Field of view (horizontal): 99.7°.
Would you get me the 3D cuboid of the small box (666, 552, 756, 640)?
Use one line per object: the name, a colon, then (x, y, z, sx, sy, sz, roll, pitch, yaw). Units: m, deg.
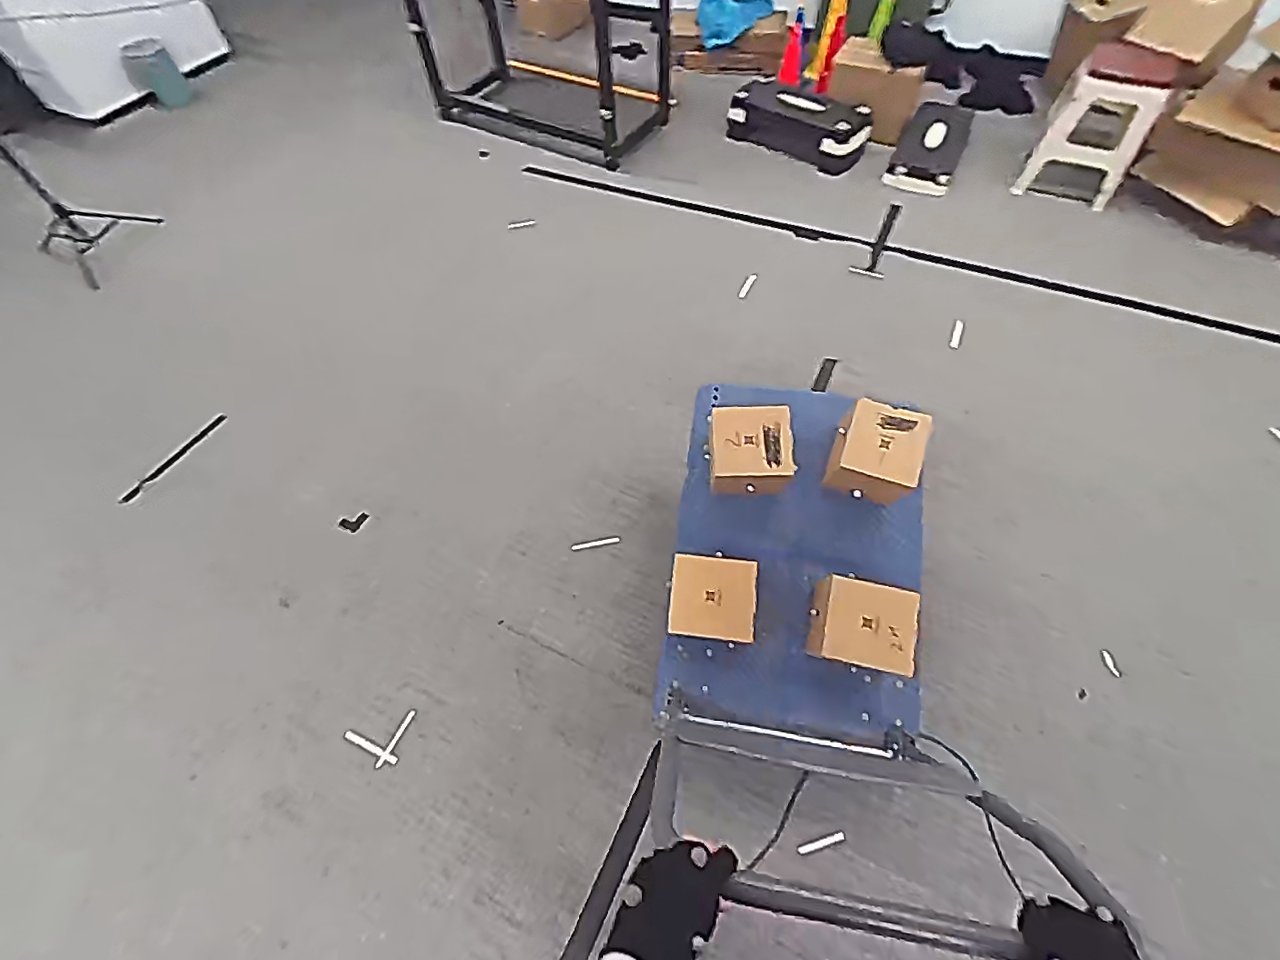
small box: (0.153, 0.261, 1.196, 0.179, 0.176, 0.168, 5, 74, 5)

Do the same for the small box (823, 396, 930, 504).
small box: (0.542, -0.064, 1.259, 0.168, 0.176, 0.179, 18, 77, 10)

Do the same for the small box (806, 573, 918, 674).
small box: (0.465, 0.308, 1.155, 0.179, 0.176, 0.168, 12, 75, 8)
